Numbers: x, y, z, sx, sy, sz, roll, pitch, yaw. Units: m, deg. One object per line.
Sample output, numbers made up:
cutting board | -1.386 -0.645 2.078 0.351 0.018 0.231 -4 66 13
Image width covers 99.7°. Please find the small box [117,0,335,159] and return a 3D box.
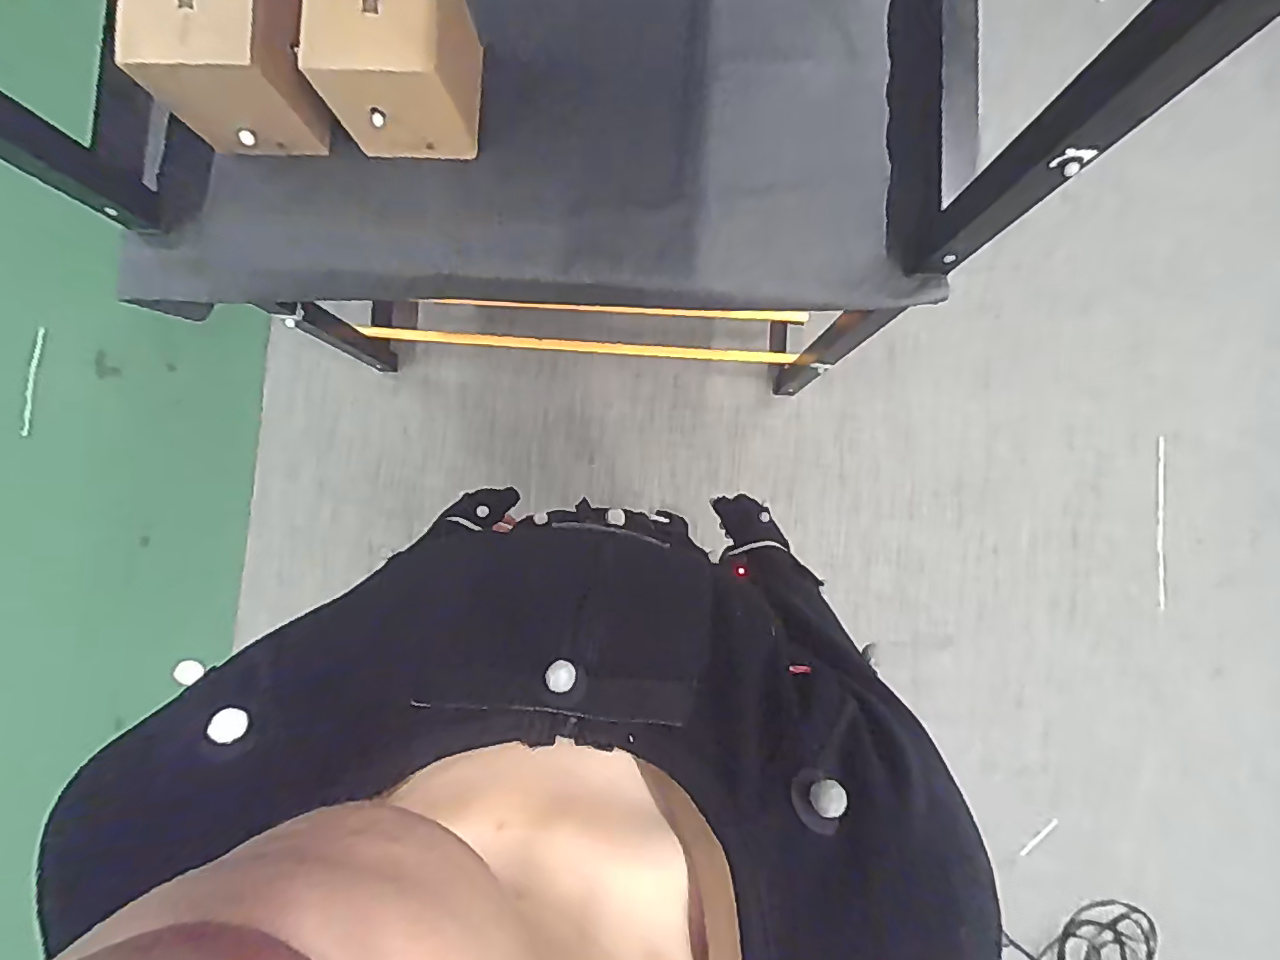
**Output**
small box | -0.539 -0.572 0.729 0.168 0.176 0.179 1 87 1
